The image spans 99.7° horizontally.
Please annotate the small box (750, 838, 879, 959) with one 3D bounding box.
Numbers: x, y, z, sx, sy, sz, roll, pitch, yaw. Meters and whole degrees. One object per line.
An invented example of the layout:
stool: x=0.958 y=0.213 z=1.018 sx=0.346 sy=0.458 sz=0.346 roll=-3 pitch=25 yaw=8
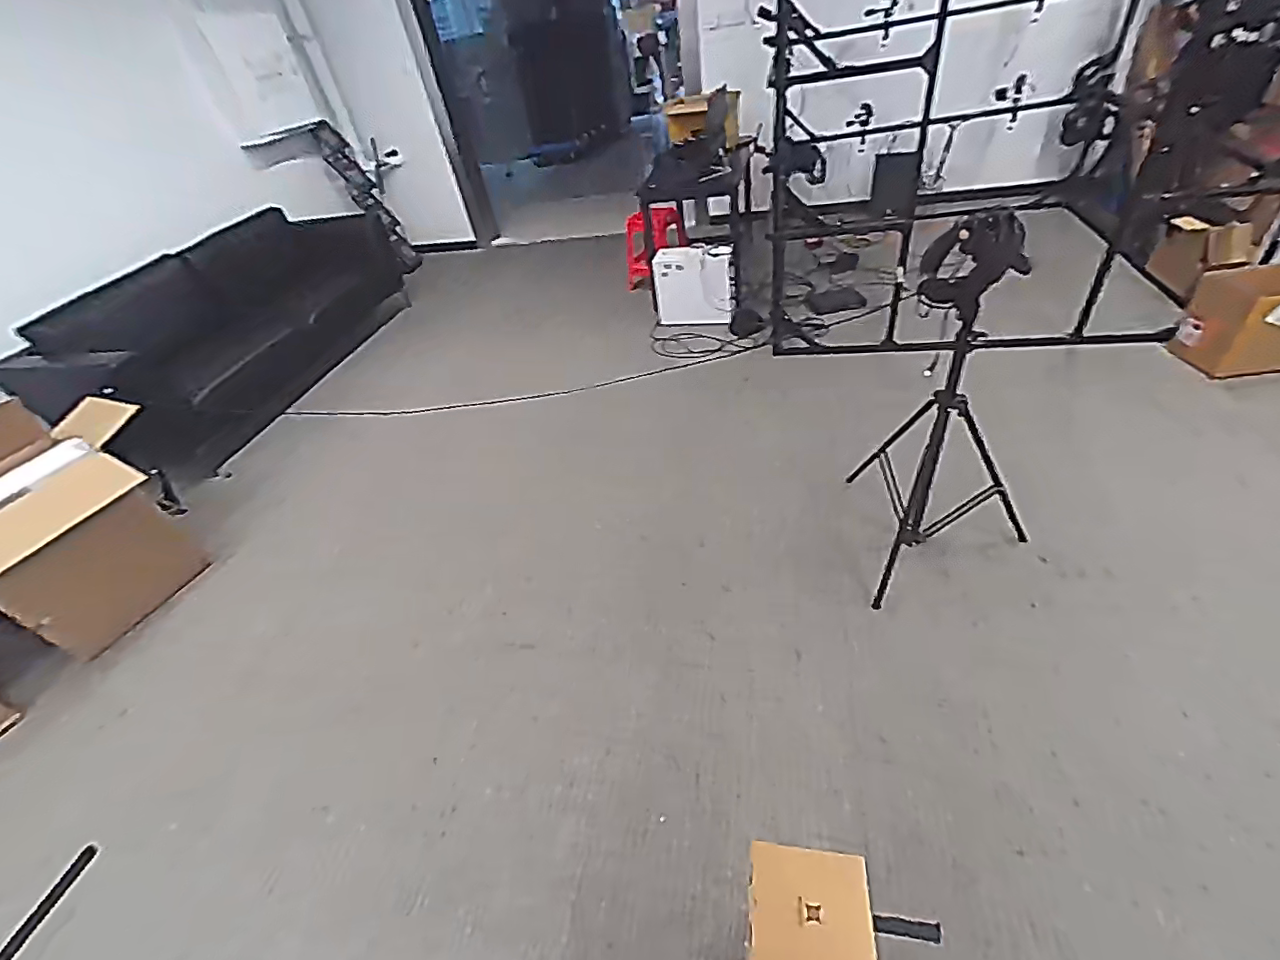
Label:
small box: x=0.265 y=0.694 z=0.853 sx=0.179 sy=0.176 sz=0.168 roll=0 pitch=42 yaw=12
